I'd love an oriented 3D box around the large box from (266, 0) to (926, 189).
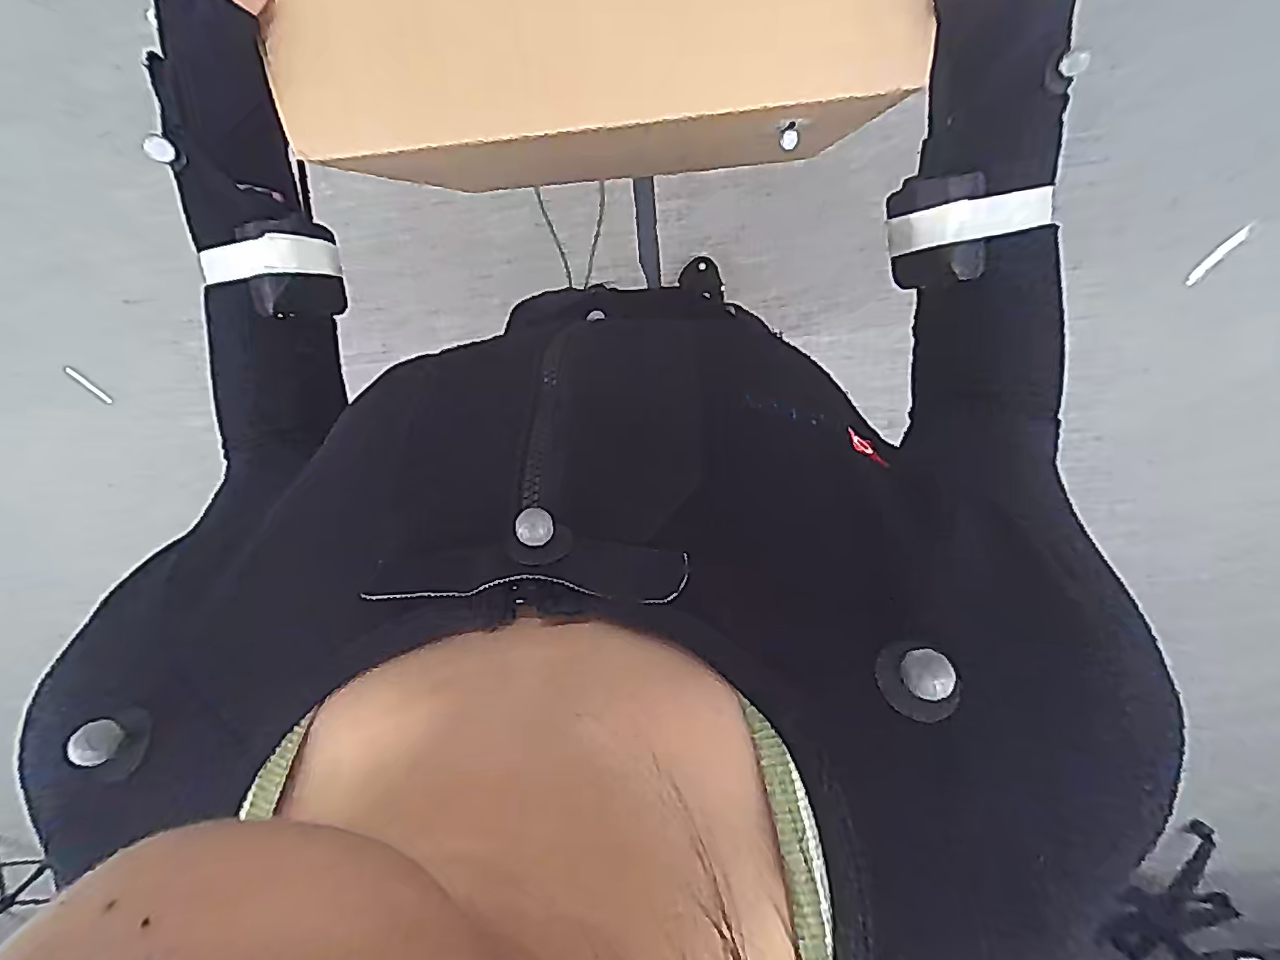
[{"bbox_3d":[-0.029,-0.429,0.424,0.408,0.320,0.320,-3,114,5],"label":"large box"}]
